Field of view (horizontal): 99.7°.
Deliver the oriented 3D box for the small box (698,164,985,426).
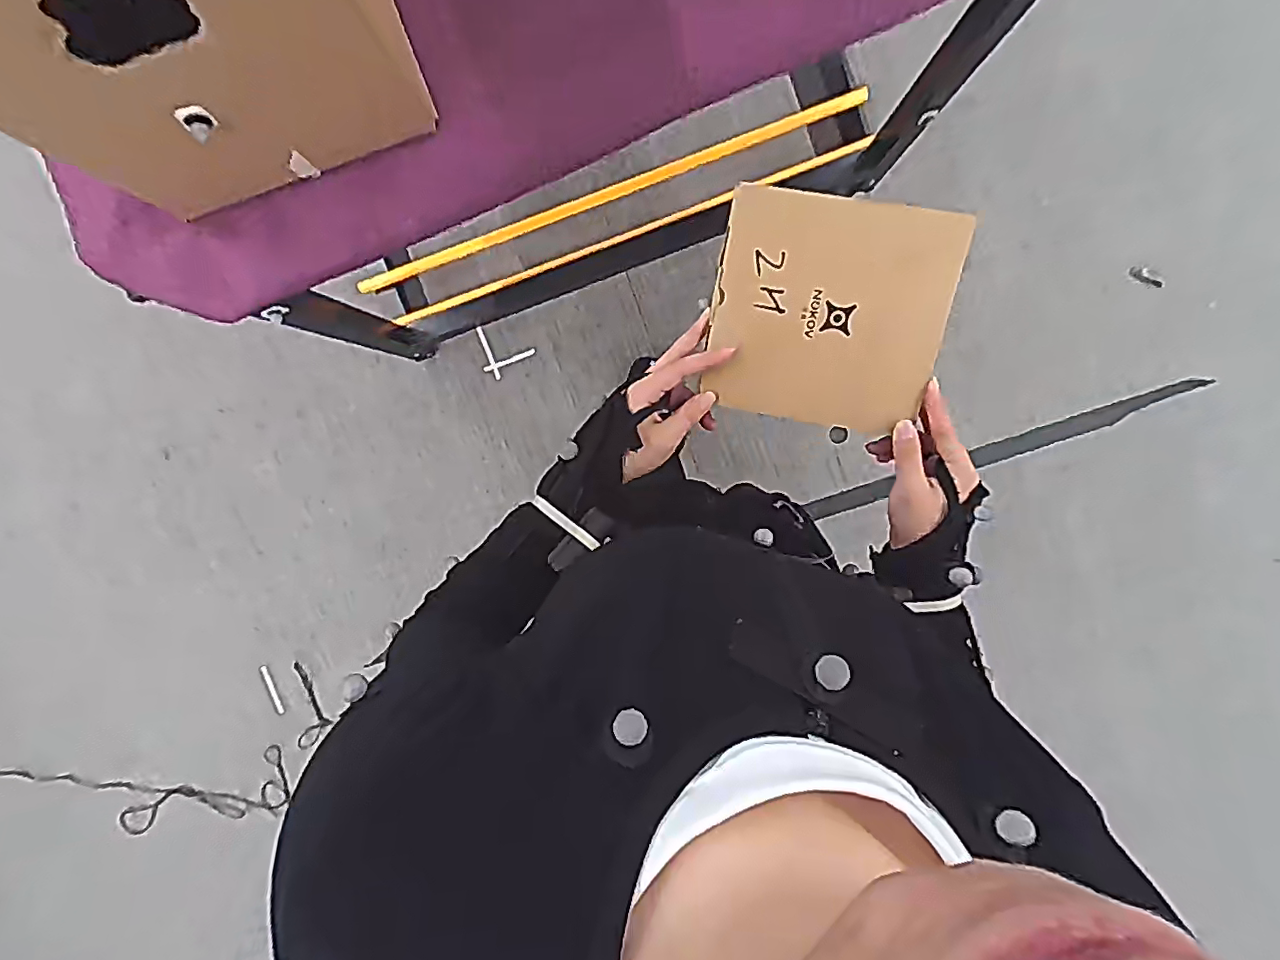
[{"bbox_3d":[0.154,-0.154,0.480,0.179,0.176,0.168,11,104,5],"label":"small box"}]
